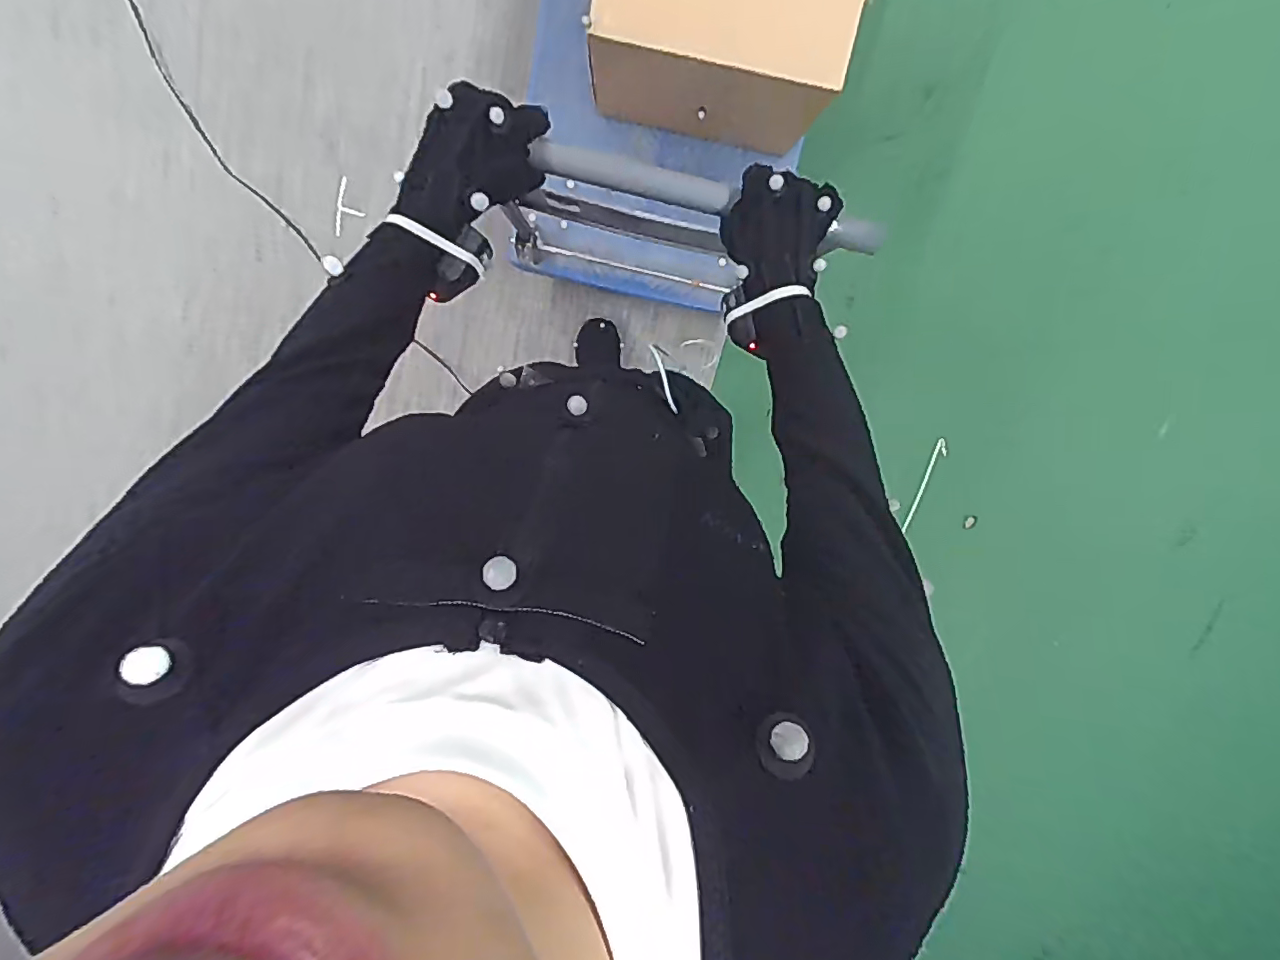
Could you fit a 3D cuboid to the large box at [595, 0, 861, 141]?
[{"bbox_3d":[0.149,-0.841,0.948,0.408,0.320,0.320,9,104,-3],"label":"large box"}]
